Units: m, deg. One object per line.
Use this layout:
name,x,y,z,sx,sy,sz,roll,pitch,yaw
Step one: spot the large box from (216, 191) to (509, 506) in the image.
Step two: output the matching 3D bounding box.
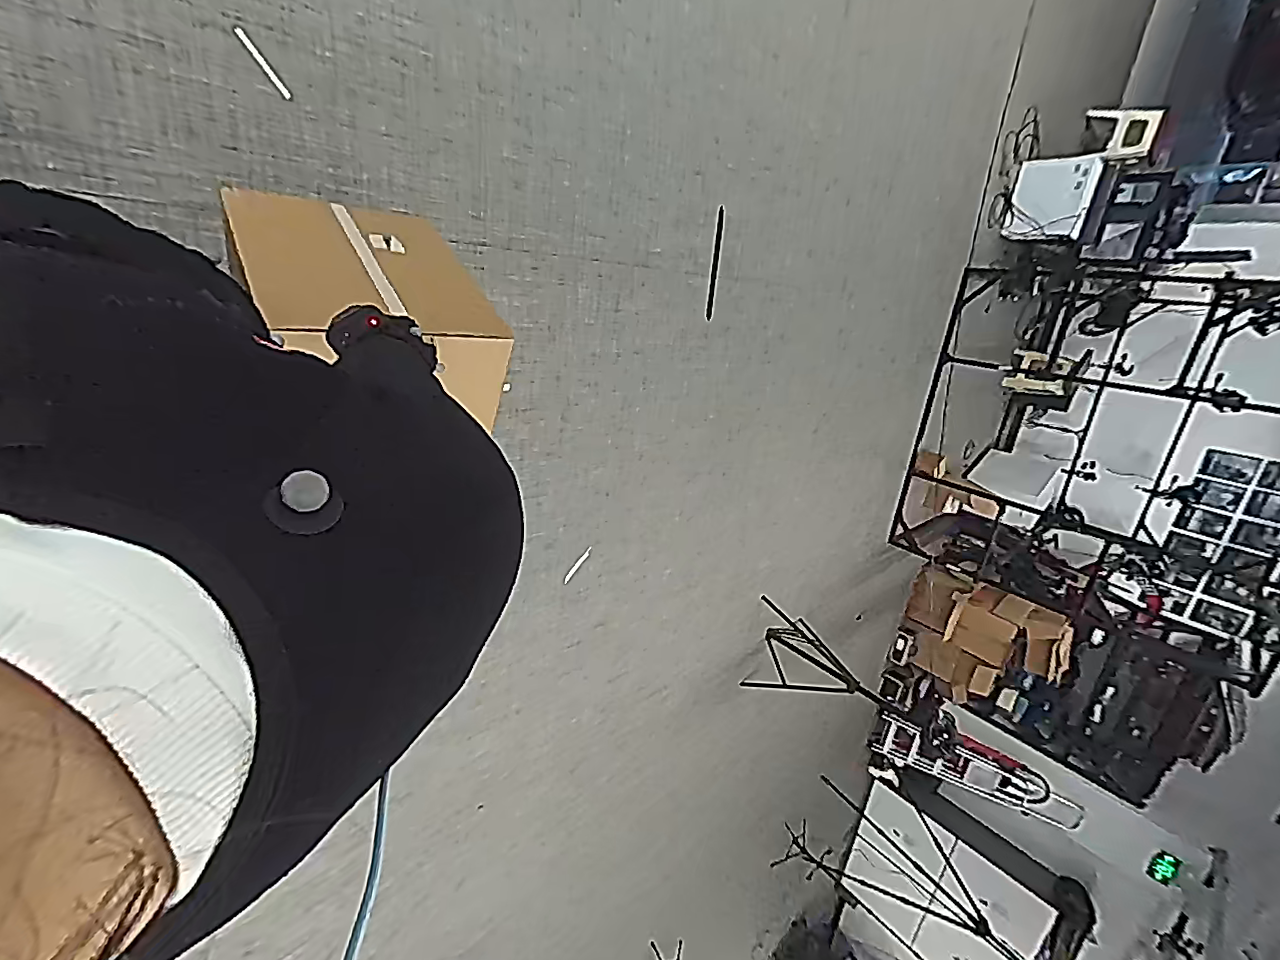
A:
large box,-0.469,-0.220,0.904,0.320,0.408,0.320,-10,140,-40
